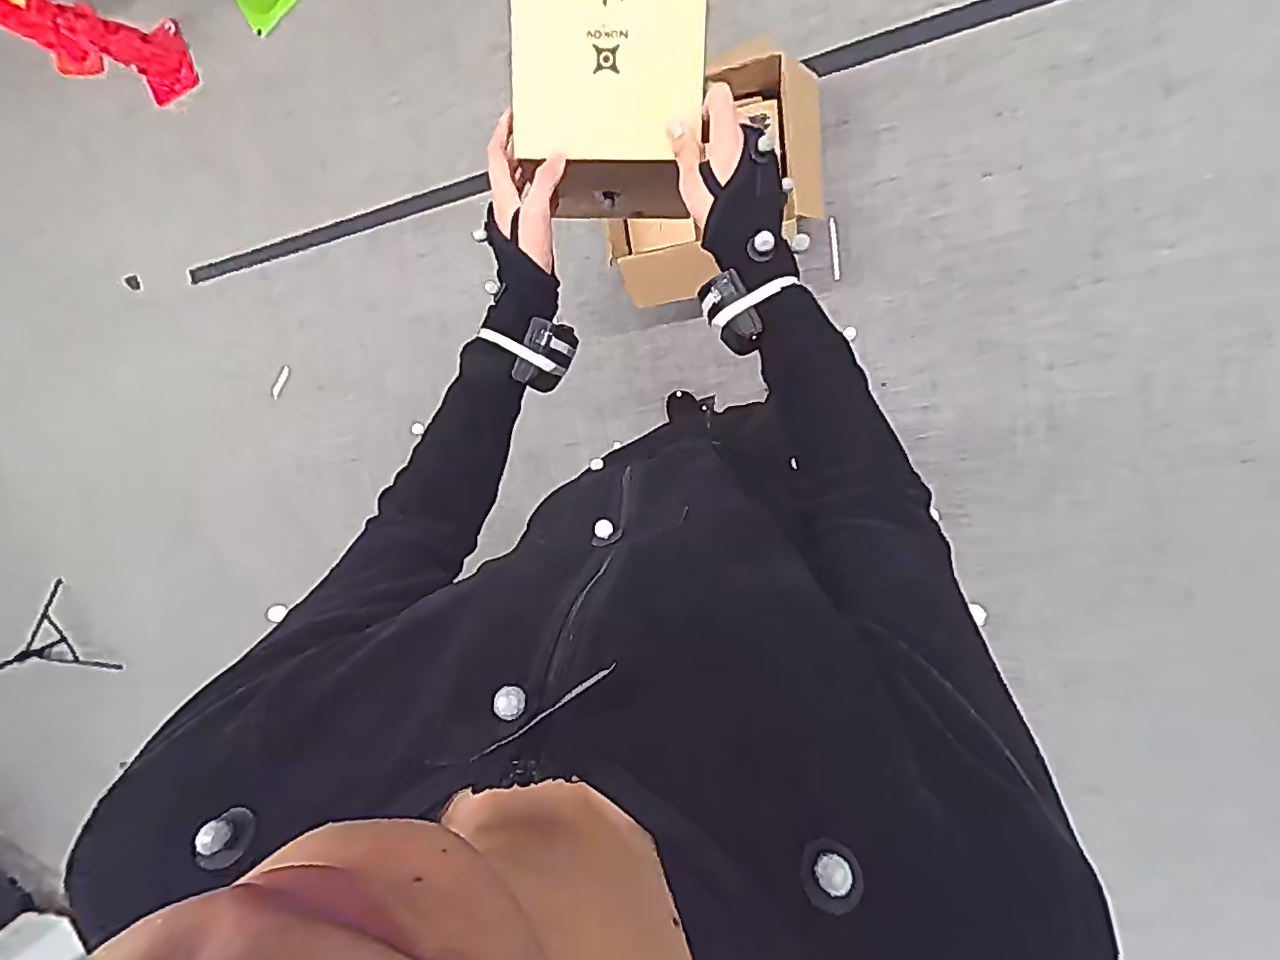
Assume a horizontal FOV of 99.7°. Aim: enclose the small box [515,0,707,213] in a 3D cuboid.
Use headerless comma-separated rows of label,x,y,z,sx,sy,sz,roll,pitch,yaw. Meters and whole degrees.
small box,-0.022,-0.383,0.542,0.168,0.176,0.179,1,99,2
